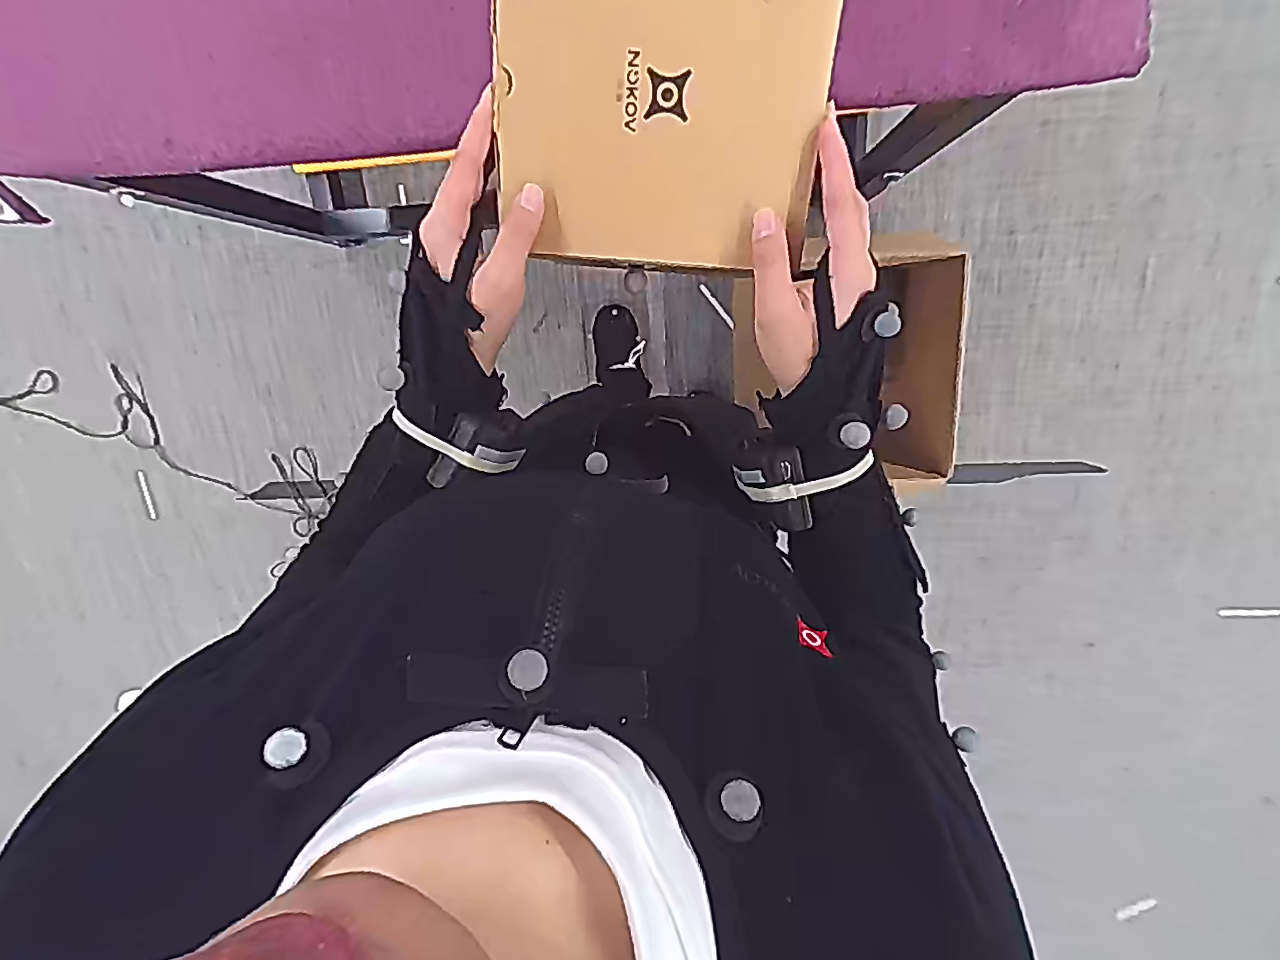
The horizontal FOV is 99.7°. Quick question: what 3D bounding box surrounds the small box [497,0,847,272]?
[{"bbox_3d":[0.016,-0.231,0.355,0.179,0.176,0.168,5,111,2],"label":"small box"}]
